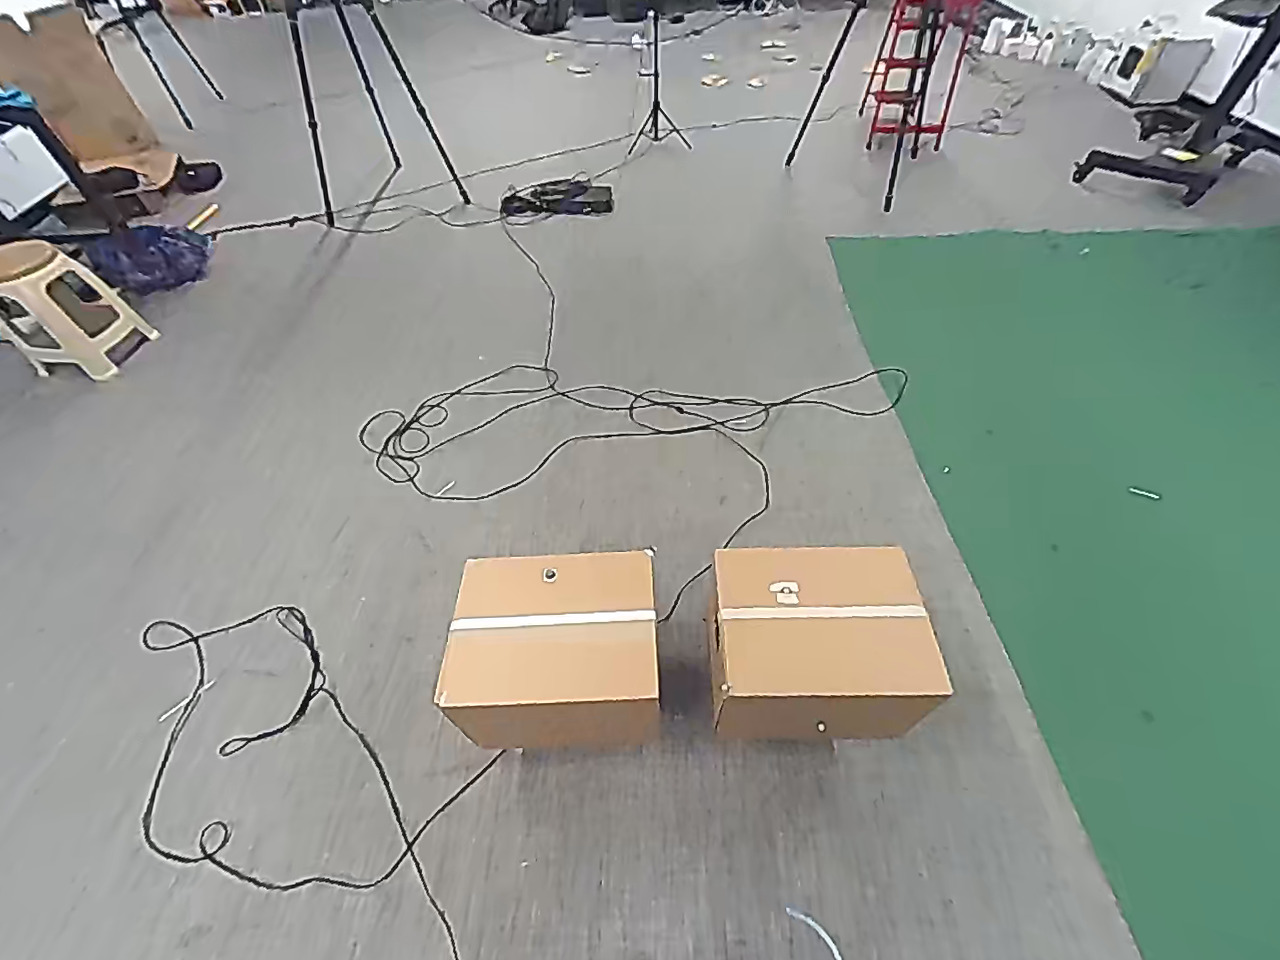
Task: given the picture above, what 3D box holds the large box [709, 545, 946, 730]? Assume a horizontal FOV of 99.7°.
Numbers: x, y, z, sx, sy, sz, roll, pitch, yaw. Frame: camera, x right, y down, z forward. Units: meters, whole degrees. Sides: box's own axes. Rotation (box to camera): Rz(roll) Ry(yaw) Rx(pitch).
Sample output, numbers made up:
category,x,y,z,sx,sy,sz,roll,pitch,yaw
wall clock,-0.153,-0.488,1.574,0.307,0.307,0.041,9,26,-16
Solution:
category,x,y,z,sx,sy,sz,roll,pitch,yaw
large box,0.370,0.357,1.198,0.408,0.320,0.320,-1,51,2
